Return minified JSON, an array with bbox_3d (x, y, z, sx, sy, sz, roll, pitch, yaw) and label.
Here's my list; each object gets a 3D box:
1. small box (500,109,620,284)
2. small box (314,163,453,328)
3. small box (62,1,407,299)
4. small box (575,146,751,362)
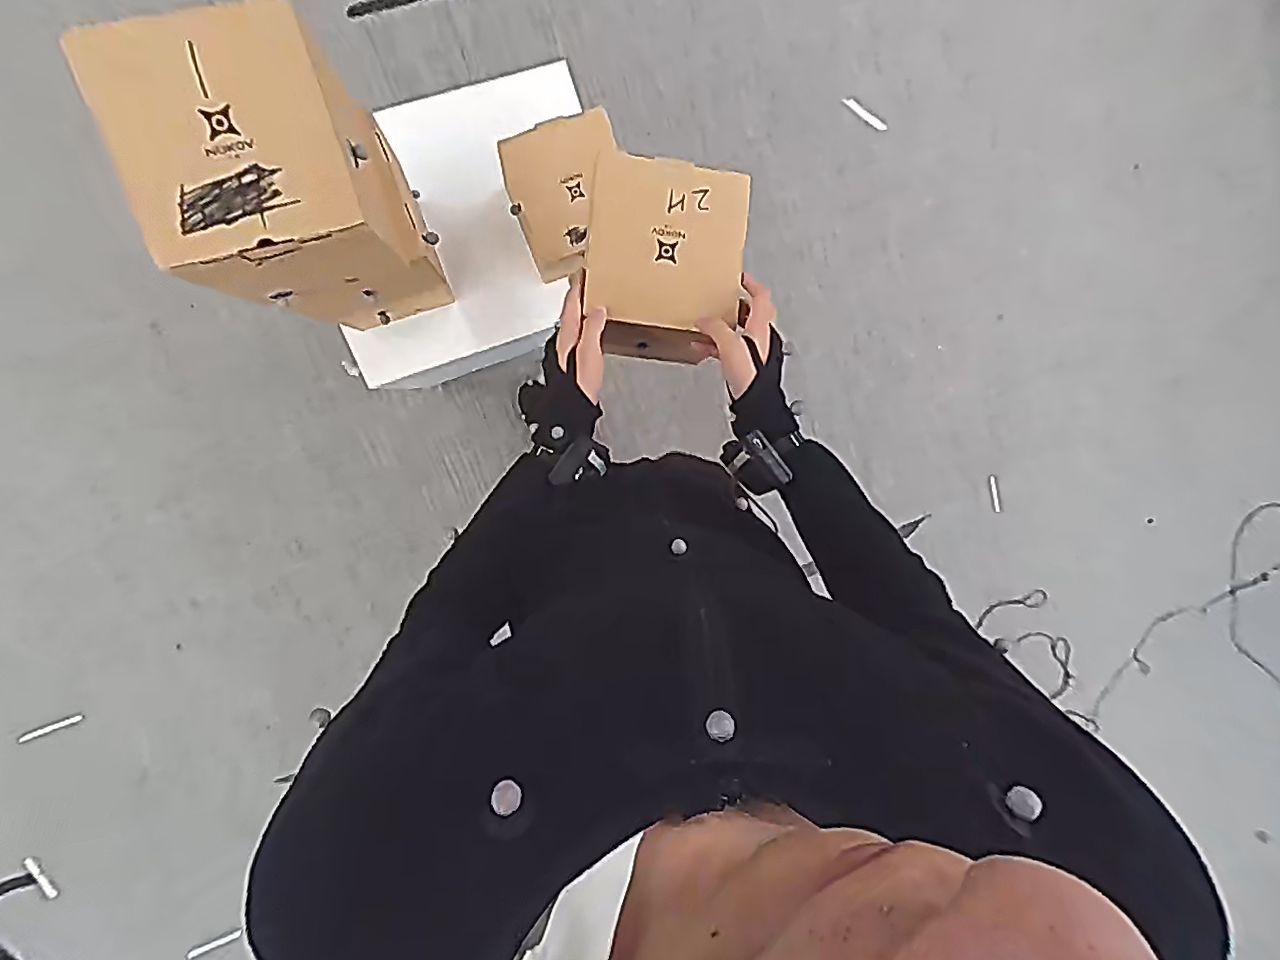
[{"bbox_3d":[-0.109,-0.435,0.858,0.168,0.176,0.179,-23,103,-6],"label":"small box"},{"bbox_3d":[-0.399,-0.337,0.816,0.168,0.176,0.179,-21,103,-8],"label":"small box"},{"bbox_3d":[-0.337,-0.276,0.498,0.168,0.176,0.179,-17,101,-8],"label":"small box"},{"bbox_3d":[0.015,-0.246,0.640,0.168,0.176,0.179,6,90,-11],"label":"small box"}]
